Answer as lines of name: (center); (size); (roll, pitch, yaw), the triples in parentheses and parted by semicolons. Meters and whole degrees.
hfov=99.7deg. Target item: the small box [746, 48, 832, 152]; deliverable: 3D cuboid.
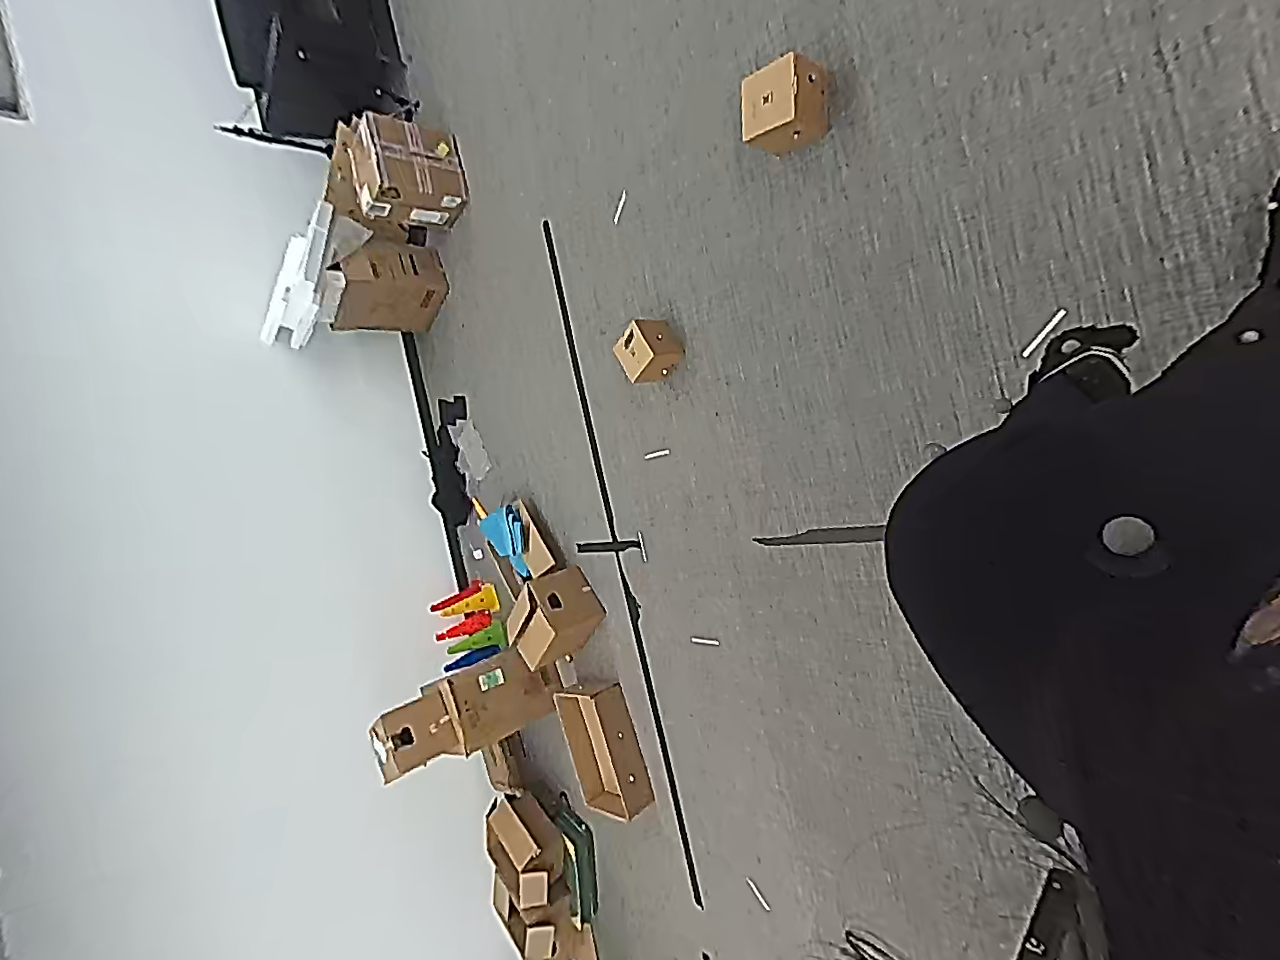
small box: (0.420, -1.053, 1.514); (0.179, 0.176, 0.168); (7, 103, 49)

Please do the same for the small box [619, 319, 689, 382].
small box: (0.054, -0.495, 2.078); (0.168, 0.176, 0.179); (-46, 66, 45)
